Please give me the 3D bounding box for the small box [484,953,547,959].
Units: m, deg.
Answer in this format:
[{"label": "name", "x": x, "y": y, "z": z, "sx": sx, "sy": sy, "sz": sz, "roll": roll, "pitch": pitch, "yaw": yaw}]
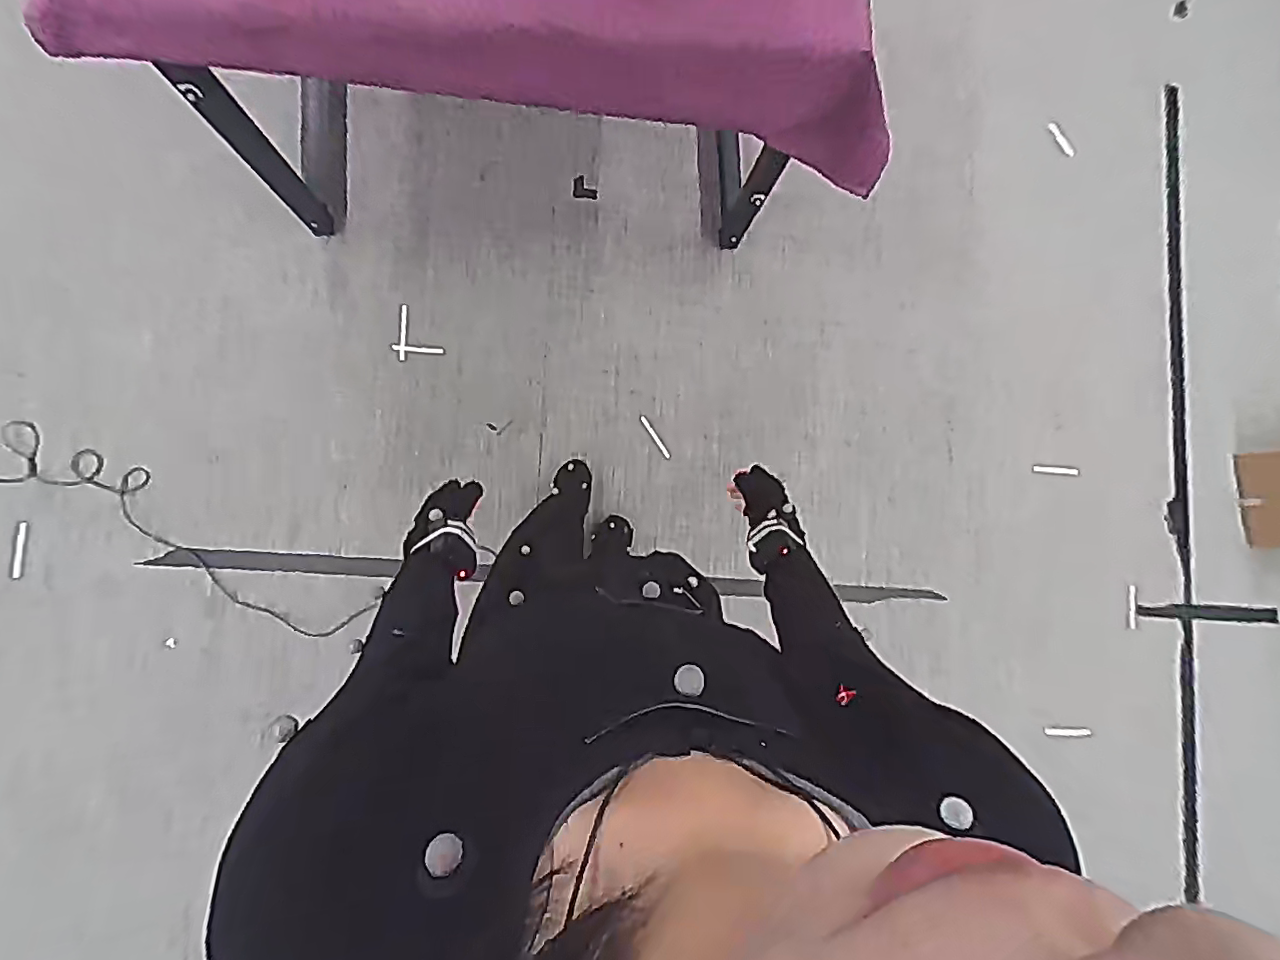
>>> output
[{"label": "small box", "x": -0.324, "y": 1.285, "z": 1.295, "sx": 0.179, "sy": 0.176, "sz": 0.168, "roll": 8, "pitch": 86, "yaw": -6}]
